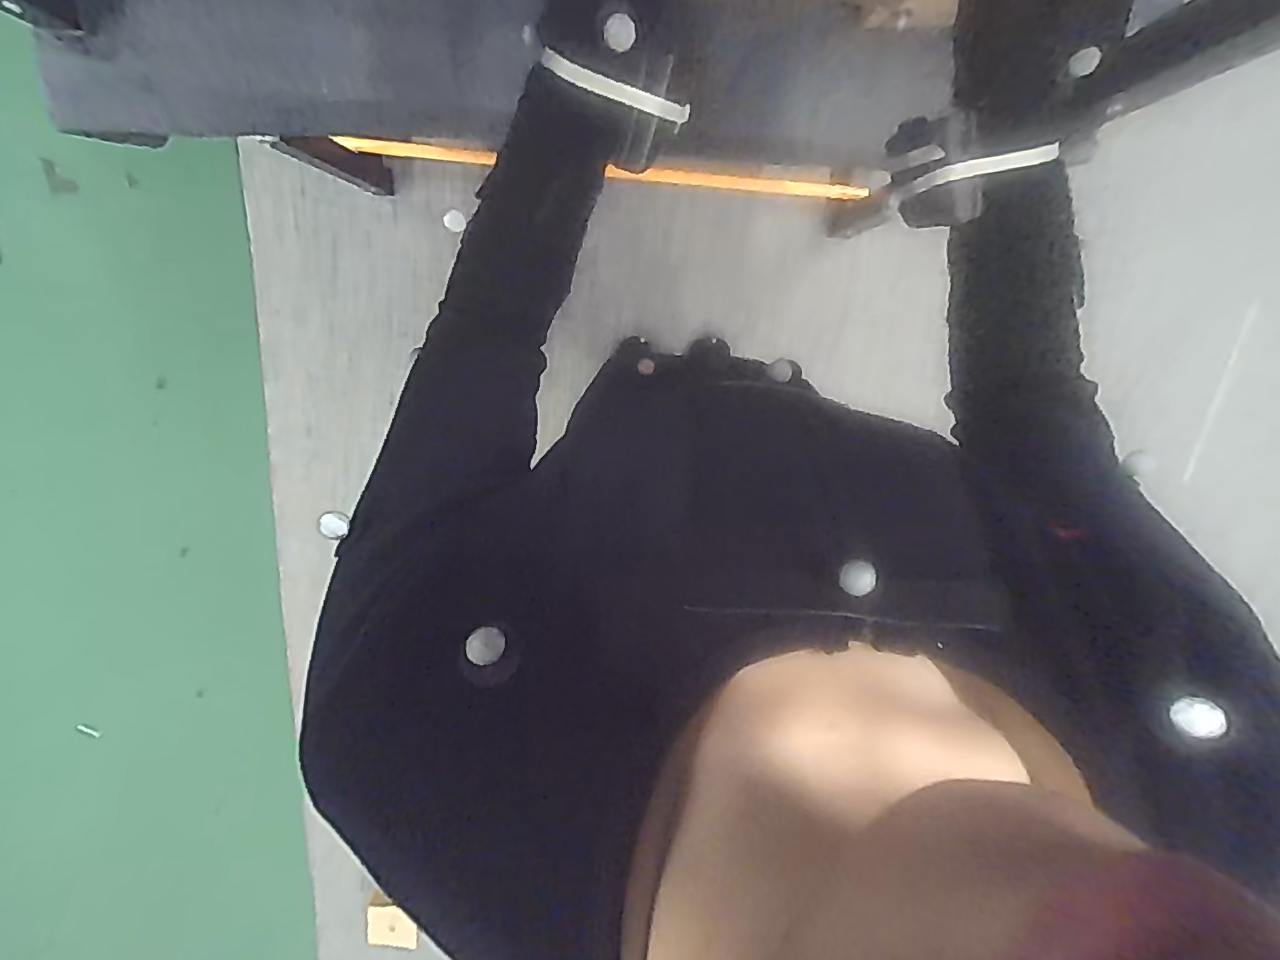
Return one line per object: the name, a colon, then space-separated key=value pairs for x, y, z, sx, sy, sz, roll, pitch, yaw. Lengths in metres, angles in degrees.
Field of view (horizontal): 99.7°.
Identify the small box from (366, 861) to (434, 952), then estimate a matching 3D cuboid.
small box: x=-0.821 y=1.466 z=1.861 sx=0.168 sy=0.176 sz=0.179 roll=7 pitch=105 yaw=-1
